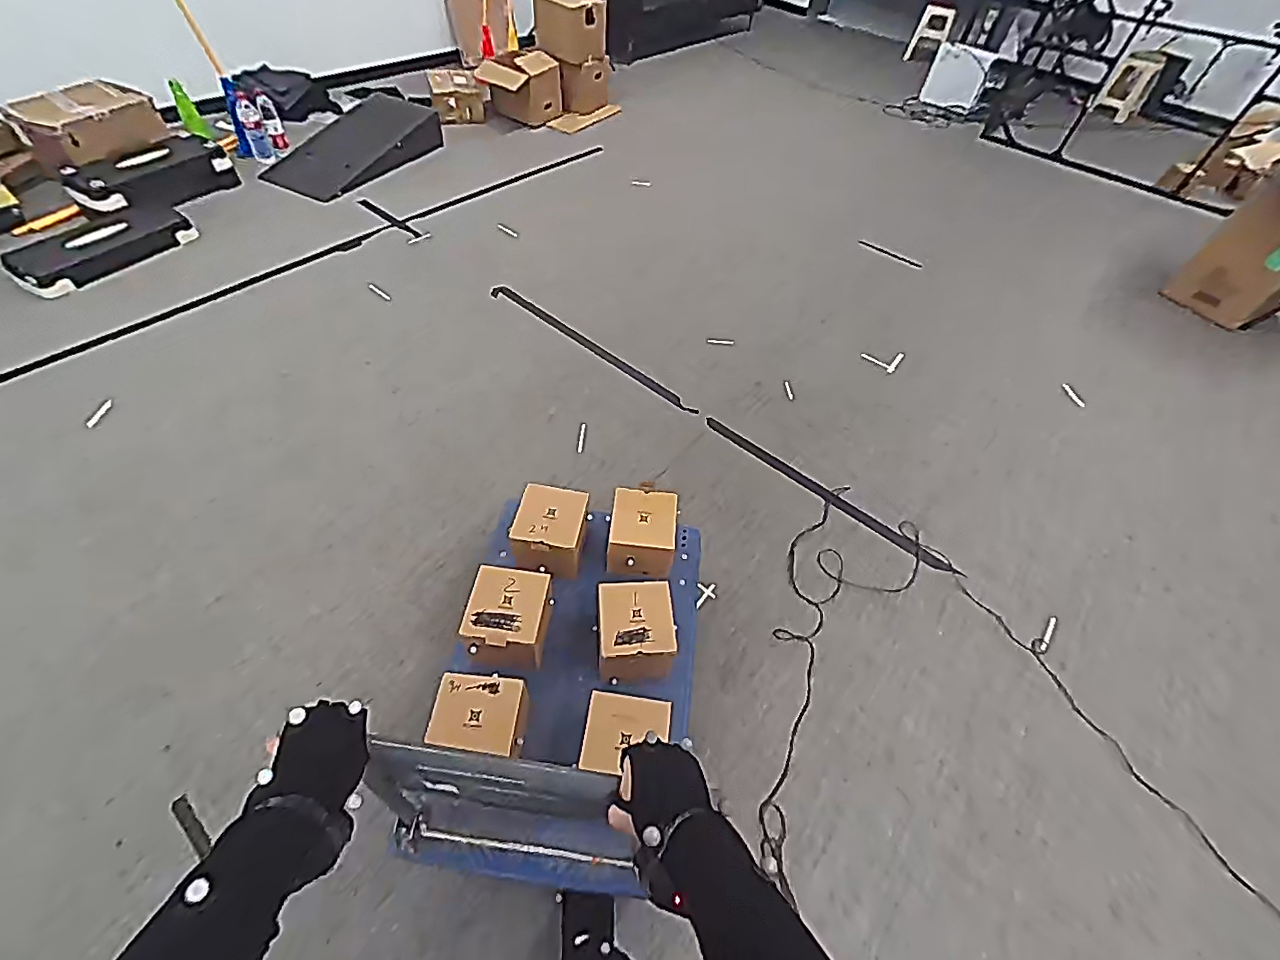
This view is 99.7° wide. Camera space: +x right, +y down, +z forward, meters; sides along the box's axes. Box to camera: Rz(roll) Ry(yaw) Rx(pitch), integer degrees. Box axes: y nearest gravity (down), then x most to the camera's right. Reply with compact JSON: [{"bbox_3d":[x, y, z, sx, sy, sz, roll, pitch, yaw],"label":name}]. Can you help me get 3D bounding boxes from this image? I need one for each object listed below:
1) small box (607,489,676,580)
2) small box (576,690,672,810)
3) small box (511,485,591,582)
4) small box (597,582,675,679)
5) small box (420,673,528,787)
[{"bbox_3d":[0.003,0.150,1.449,0.168,0.176,0.179,6,51,-1],"label":"small box"},{"bbox_3d":[-0.033,0.560,1.114,0.168,0.176,0.179,9,50,1],"label":"small box"},{"bbox_3d":[-0.231,0.142,1.426,0.168,0.176,0.179,10,52,2],"label":"small box"},{"bbox_3d":[-0.015,0.360,1.276,0.168,0.176,0.179,0,50,-7],"label":"small box"},{"bbox_3d":[-0.328,0.519,1.112,0.168,0.176,0.179,7,51,-2],"label":"small box"}]
